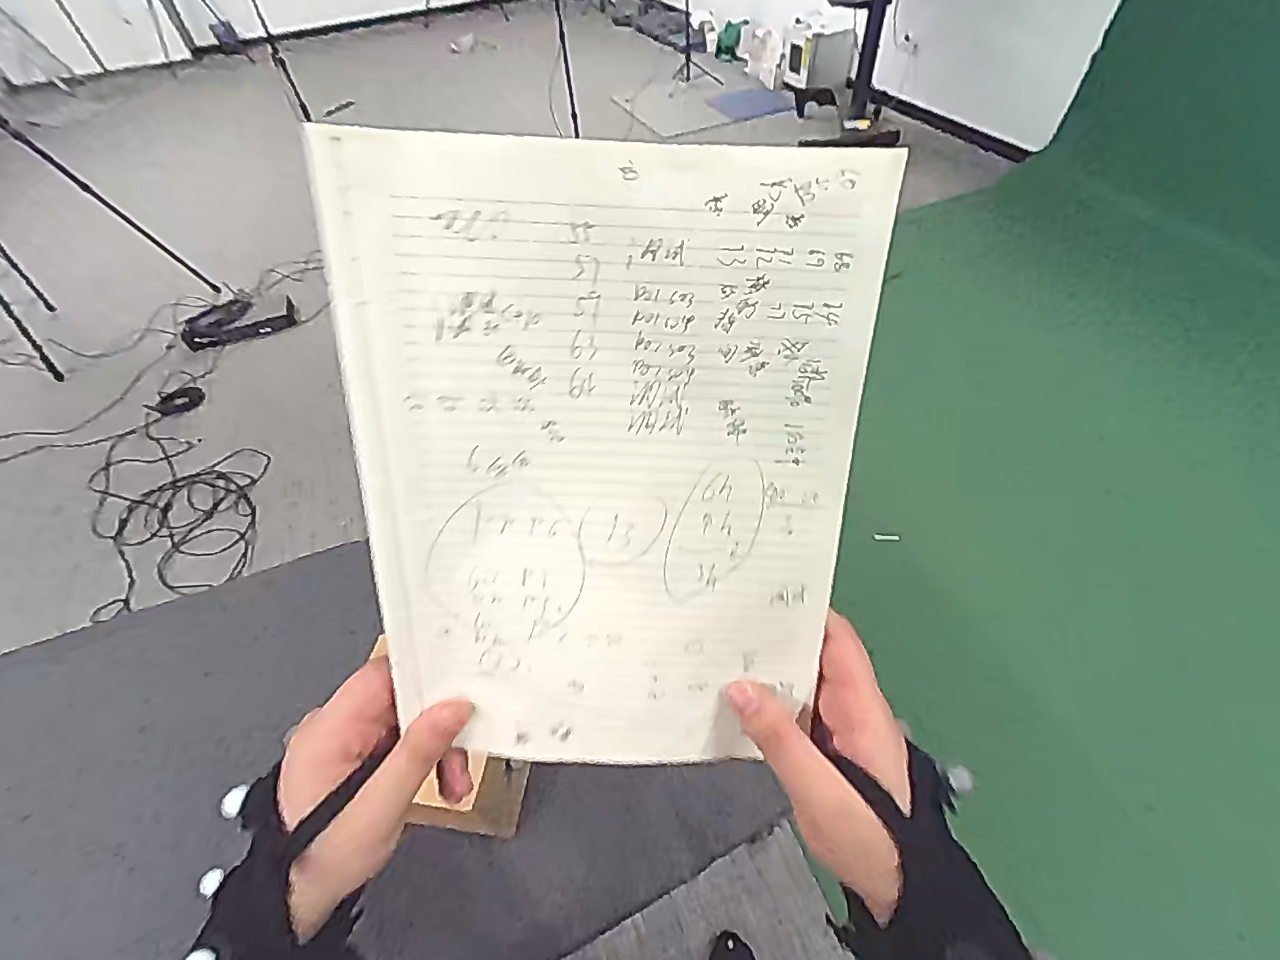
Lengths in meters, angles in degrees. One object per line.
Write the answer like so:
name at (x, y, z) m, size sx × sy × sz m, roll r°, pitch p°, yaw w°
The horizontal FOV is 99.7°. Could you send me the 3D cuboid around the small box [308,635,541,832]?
small box at (-0.229, 0.300, 0.635) m, size 0.179 × 0.176 × 0.168 m, roll 2°, pitch 50°, yaw 8°
